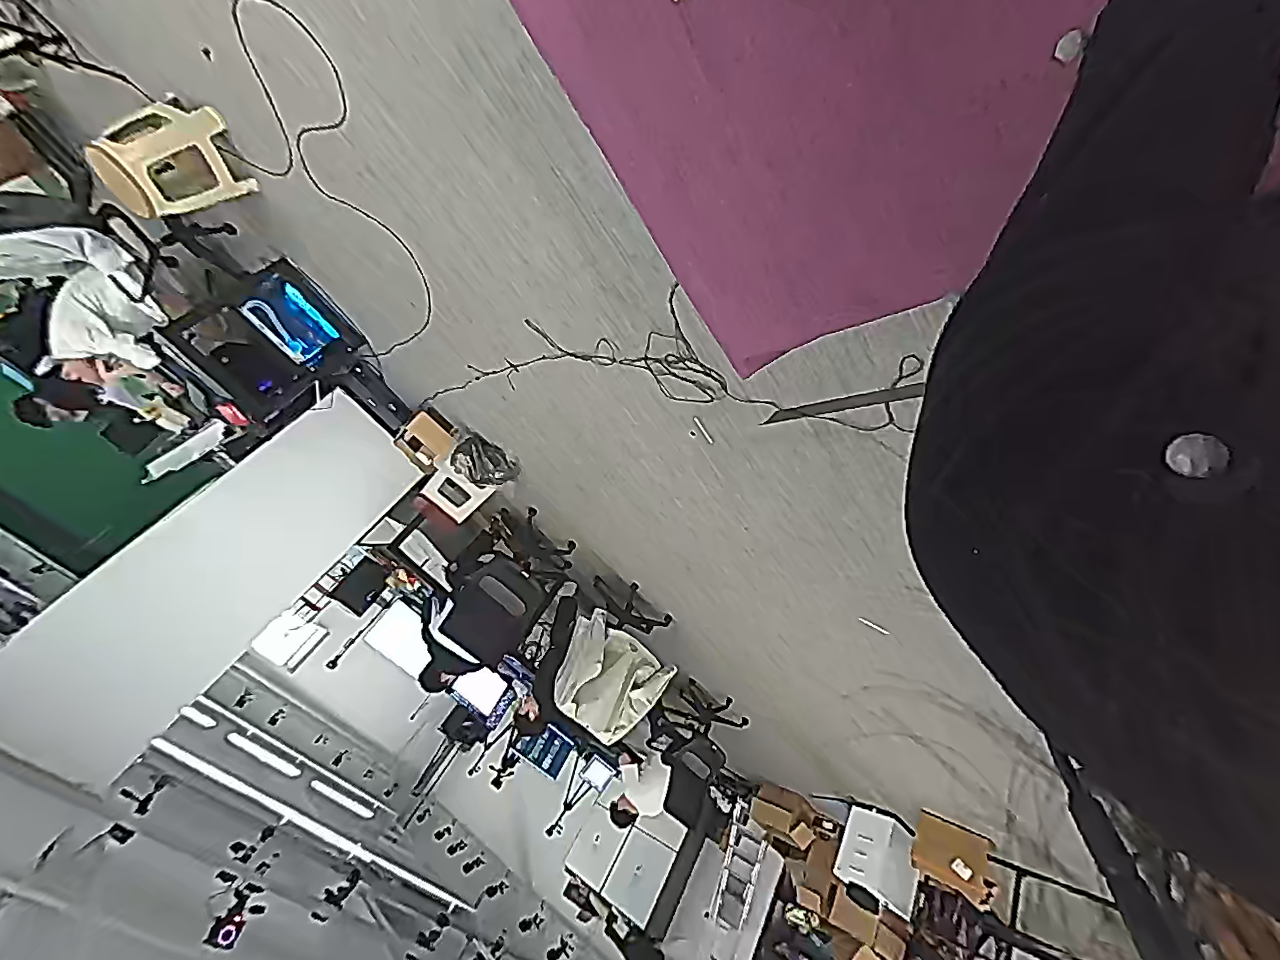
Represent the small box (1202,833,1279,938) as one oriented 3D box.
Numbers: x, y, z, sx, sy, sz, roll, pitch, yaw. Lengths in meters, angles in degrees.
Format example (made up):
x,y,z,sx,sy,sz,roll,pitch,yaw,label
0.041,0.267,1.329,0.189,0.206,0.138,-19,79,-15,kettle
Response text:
x,y,z,sx,sy,sz,roll,pitch,yaw,label
1.766,1.180,1.575,0.168,0.176,0.179,-7,128,48,small box
